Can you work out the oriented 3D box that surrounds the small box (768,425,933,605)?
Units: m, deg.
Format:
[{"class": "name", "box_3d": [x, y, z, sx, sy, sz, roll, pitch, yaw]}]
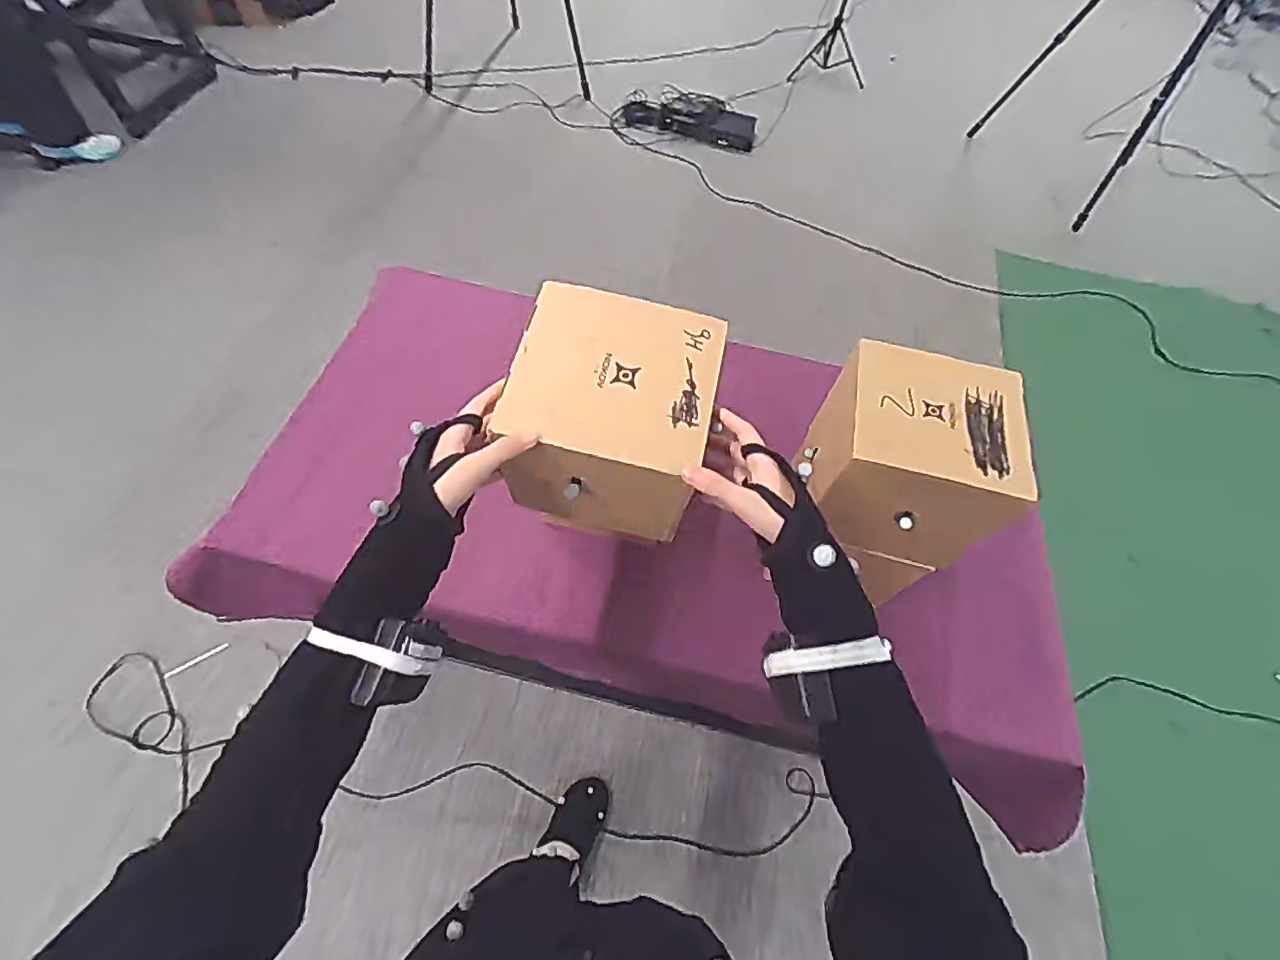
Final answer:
[{"class": "small box", "box_3d": [0.288, 0.056, 0.761, 0.168, 0.176, 0.179, 15, 59, 4]}]

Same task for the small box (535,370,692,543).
[{"class": "small box", "box_3d": [-0.036, -0.026, 0.780, 0.179, 0.176, 0.168, 14, 58, 3]}]
